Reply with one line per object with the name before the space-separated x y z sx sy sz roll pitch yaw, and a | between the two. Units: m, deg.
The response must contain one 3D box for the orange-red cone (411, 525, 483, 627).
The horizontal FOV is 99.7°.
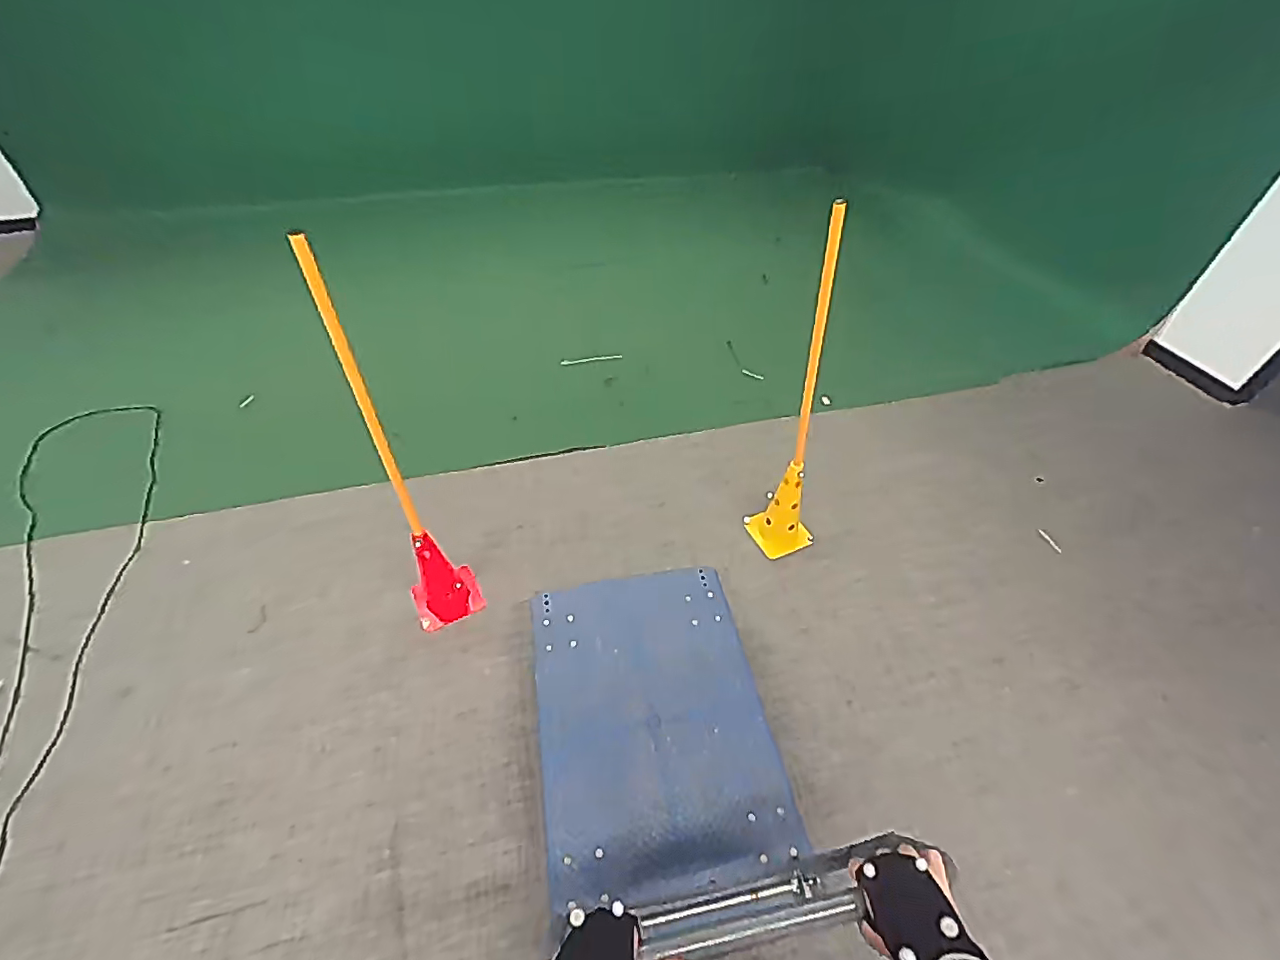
orange-red cone | -0.638 0.264 1.672 0.199 0.360 0.198 -22 50 -19
